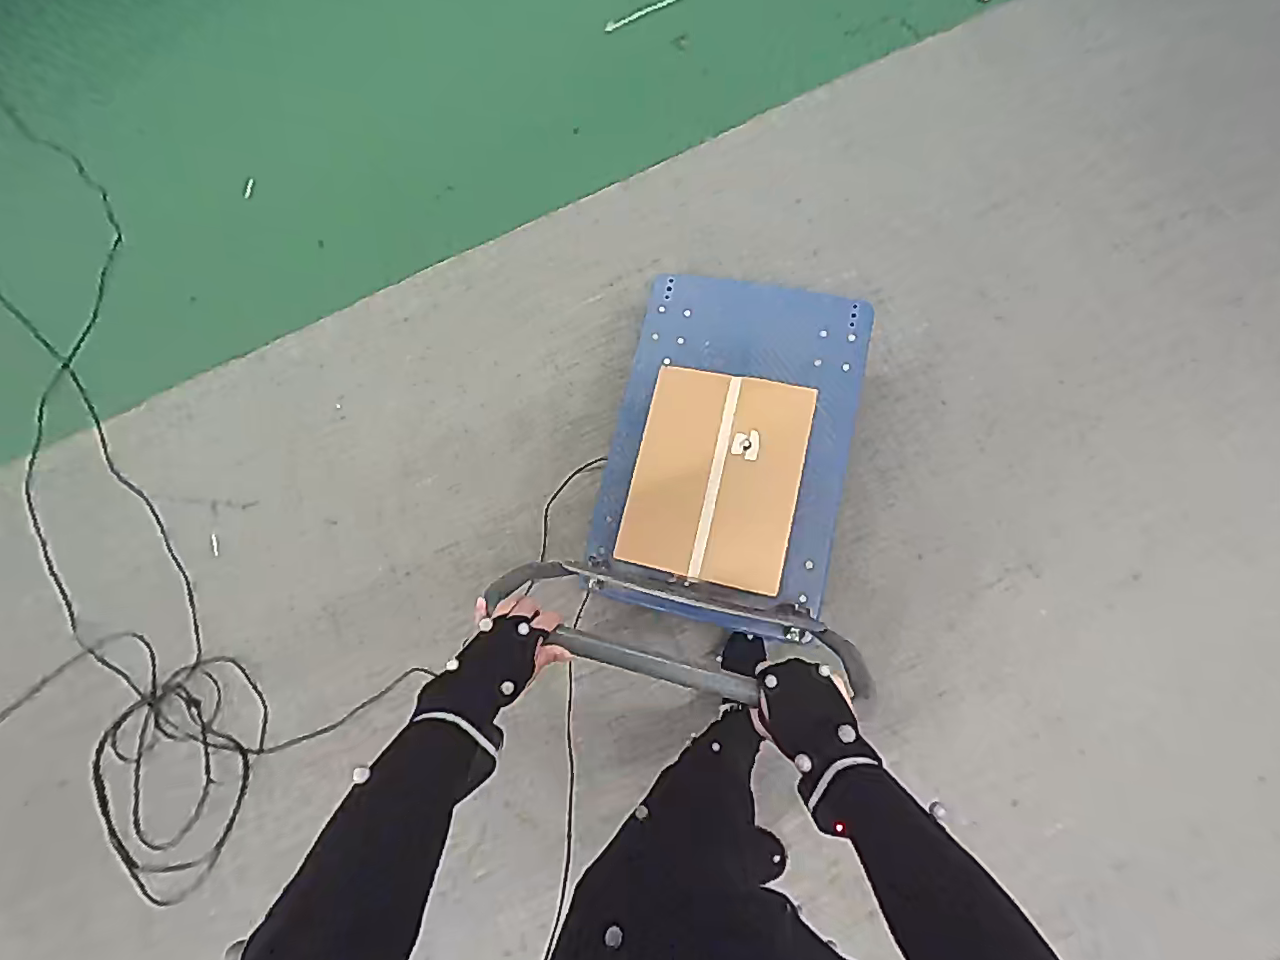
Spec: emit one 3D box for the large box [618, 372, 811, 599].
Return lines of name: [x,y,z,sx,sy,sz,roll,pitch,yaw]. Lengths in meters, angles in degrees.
large box: [0.167,0.029,1.179,0.320,0.320,0.408,11,79,11]
